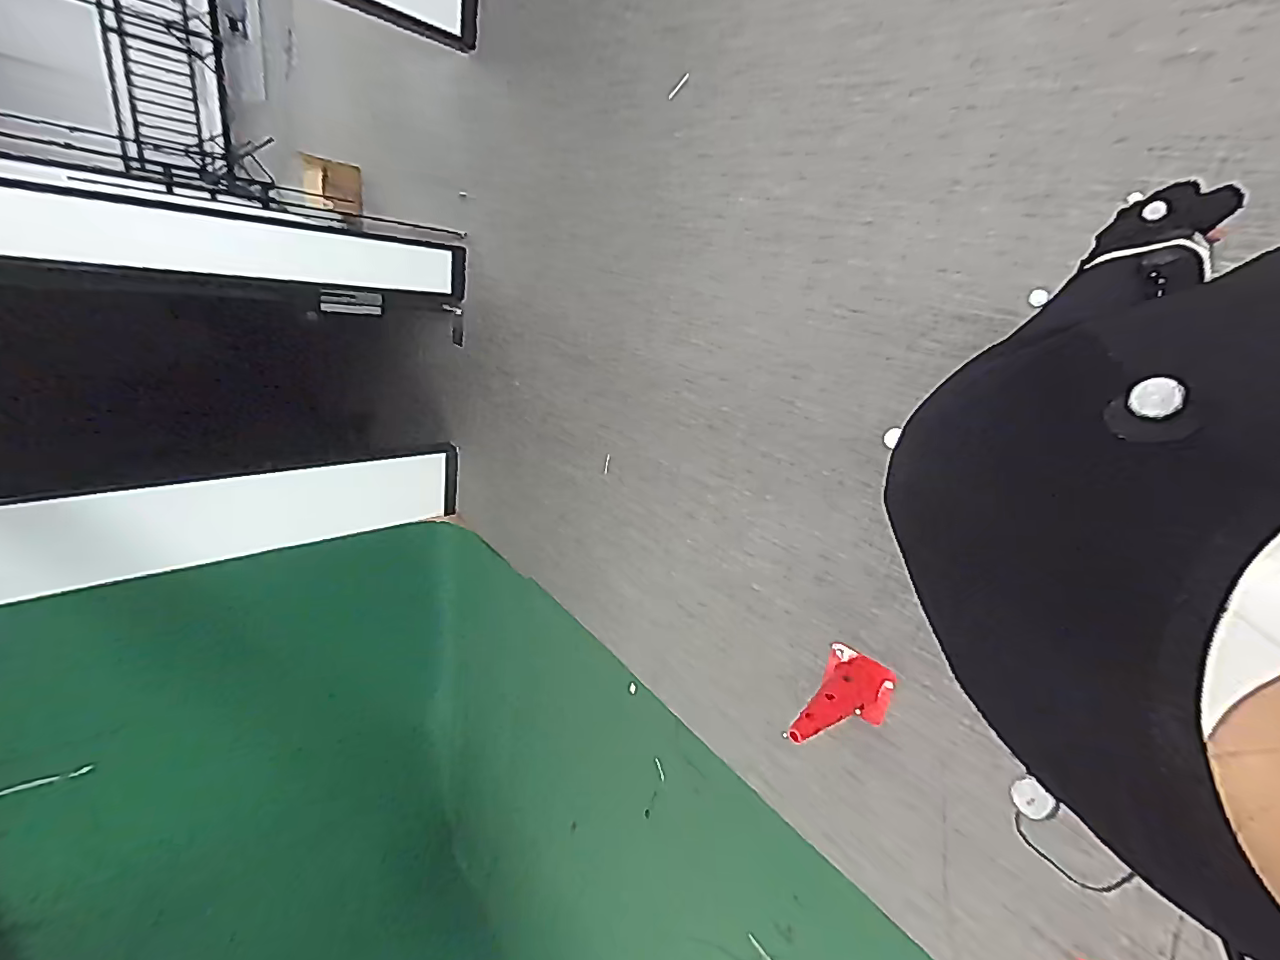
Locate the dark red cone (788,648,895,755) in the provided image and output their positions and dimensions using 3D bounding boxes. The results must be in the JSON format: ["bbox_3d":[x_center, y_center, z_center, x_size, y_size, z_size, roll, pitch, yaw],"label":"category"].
[{"bbox_3d":[0.537,0.656,1.523,0.202,0.394,0.201,24,117,42],"label":"dark red cone"}]
